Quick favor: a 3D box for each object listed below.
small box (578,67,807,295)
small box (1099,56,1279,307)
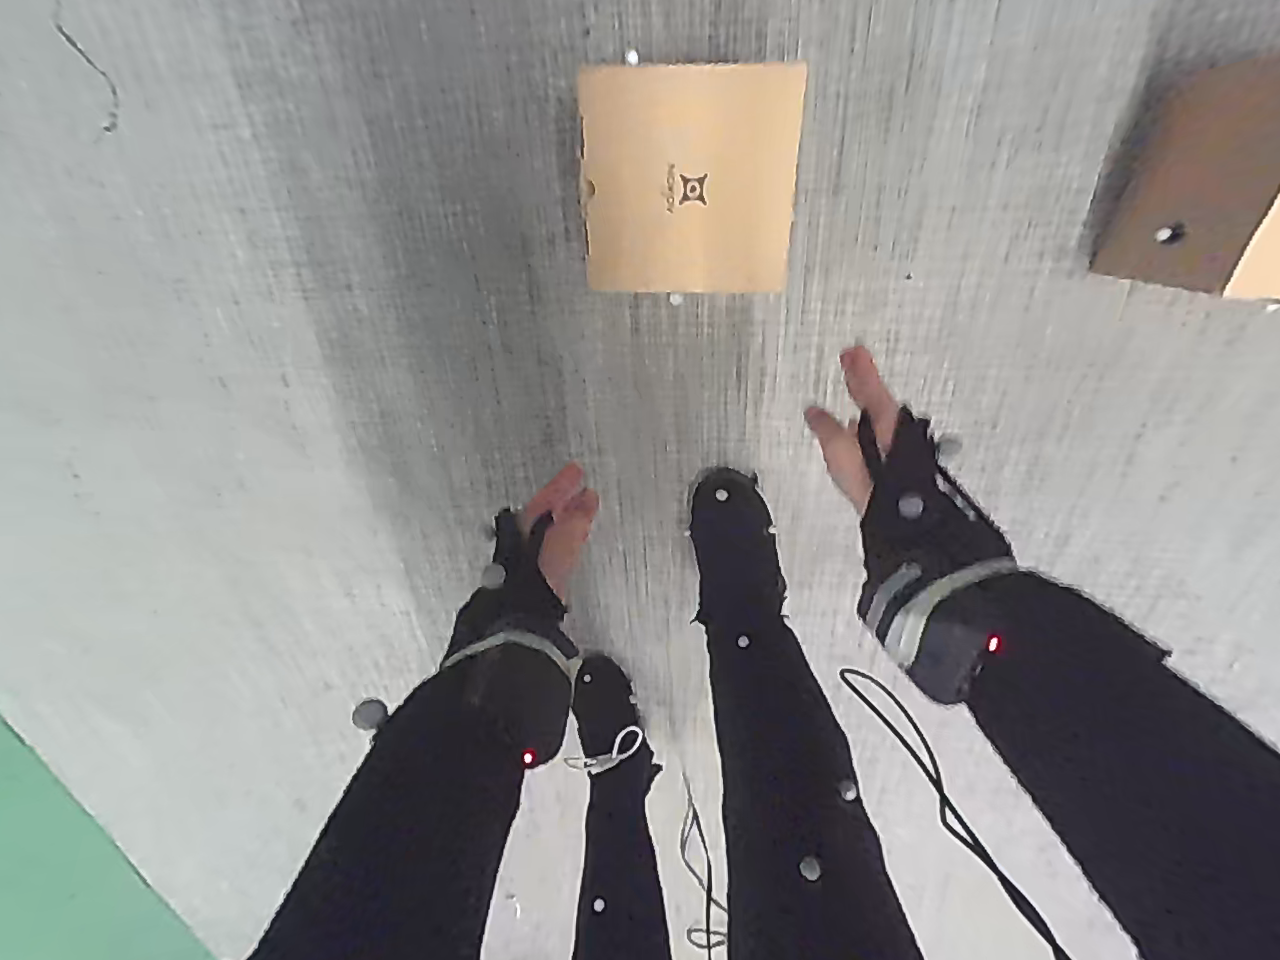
[{"bbox_3d":[0.044,-0.276,0.512,0.179,0.176,0.168,2,118,5],"label":"small box"},{"bbox_3d":[0.566,-0.254,0.476,0.168,0.176,0.179,5,117,1],"label":"small box"}]
